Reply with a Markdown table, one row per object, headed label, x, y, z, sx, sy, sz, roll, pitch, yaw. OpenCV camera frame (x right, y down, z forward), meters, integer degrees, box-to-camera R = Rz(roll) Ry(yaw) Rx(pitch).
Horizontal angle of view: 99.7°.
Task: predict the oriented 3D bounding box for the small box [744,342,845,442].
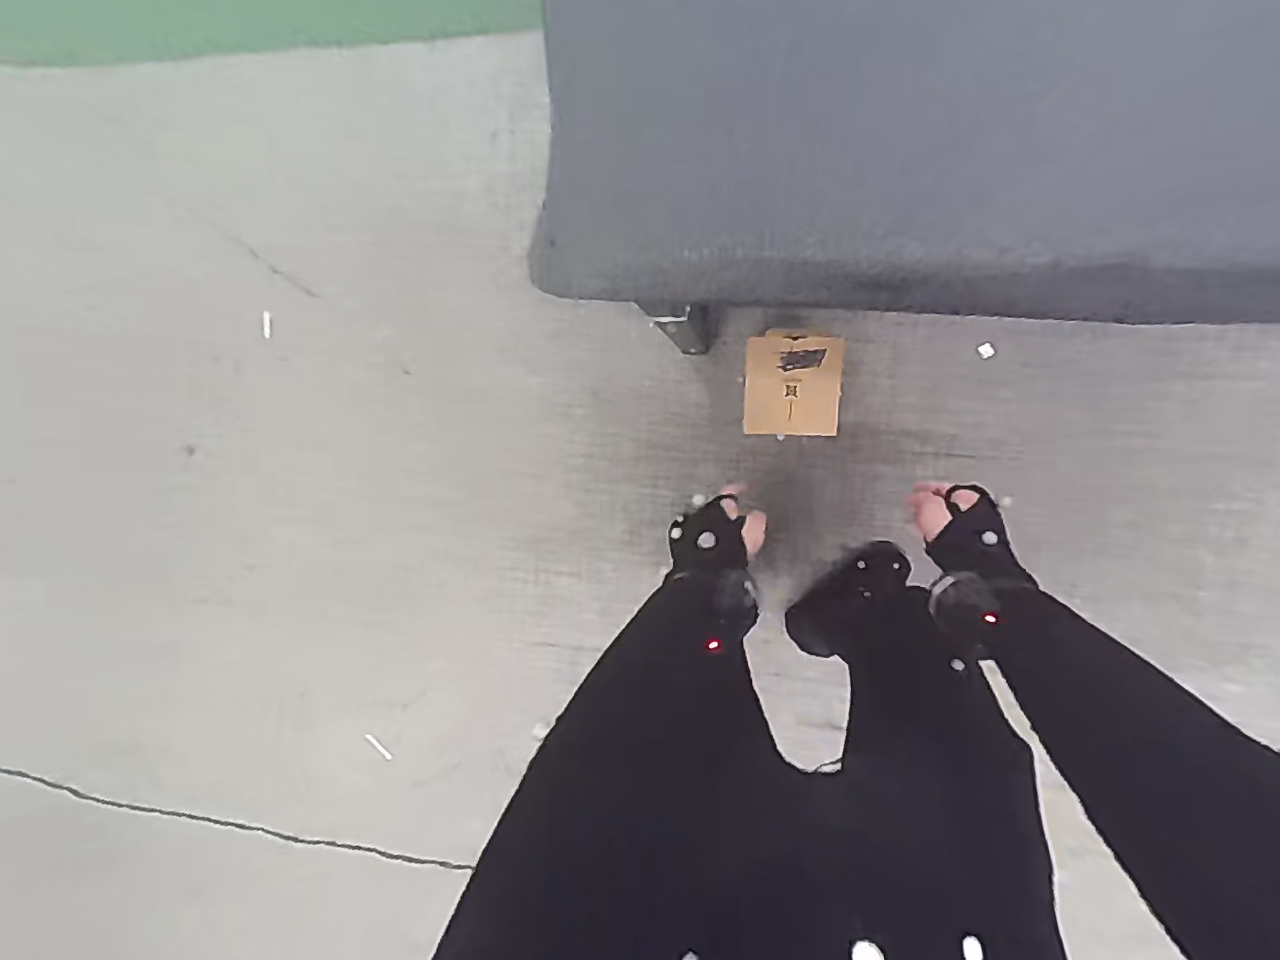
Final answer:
| label | x | y | z | sx | sy | sz | roll | pitch | yaw |
| --- | --- | --- | --- | --- | --- | --- | --- | --- | --- |
| small box | 0.289 | -0.165 | 1.040 | 0.168 | 0.176 | 0.179 | 1 | 98 | 11 |
